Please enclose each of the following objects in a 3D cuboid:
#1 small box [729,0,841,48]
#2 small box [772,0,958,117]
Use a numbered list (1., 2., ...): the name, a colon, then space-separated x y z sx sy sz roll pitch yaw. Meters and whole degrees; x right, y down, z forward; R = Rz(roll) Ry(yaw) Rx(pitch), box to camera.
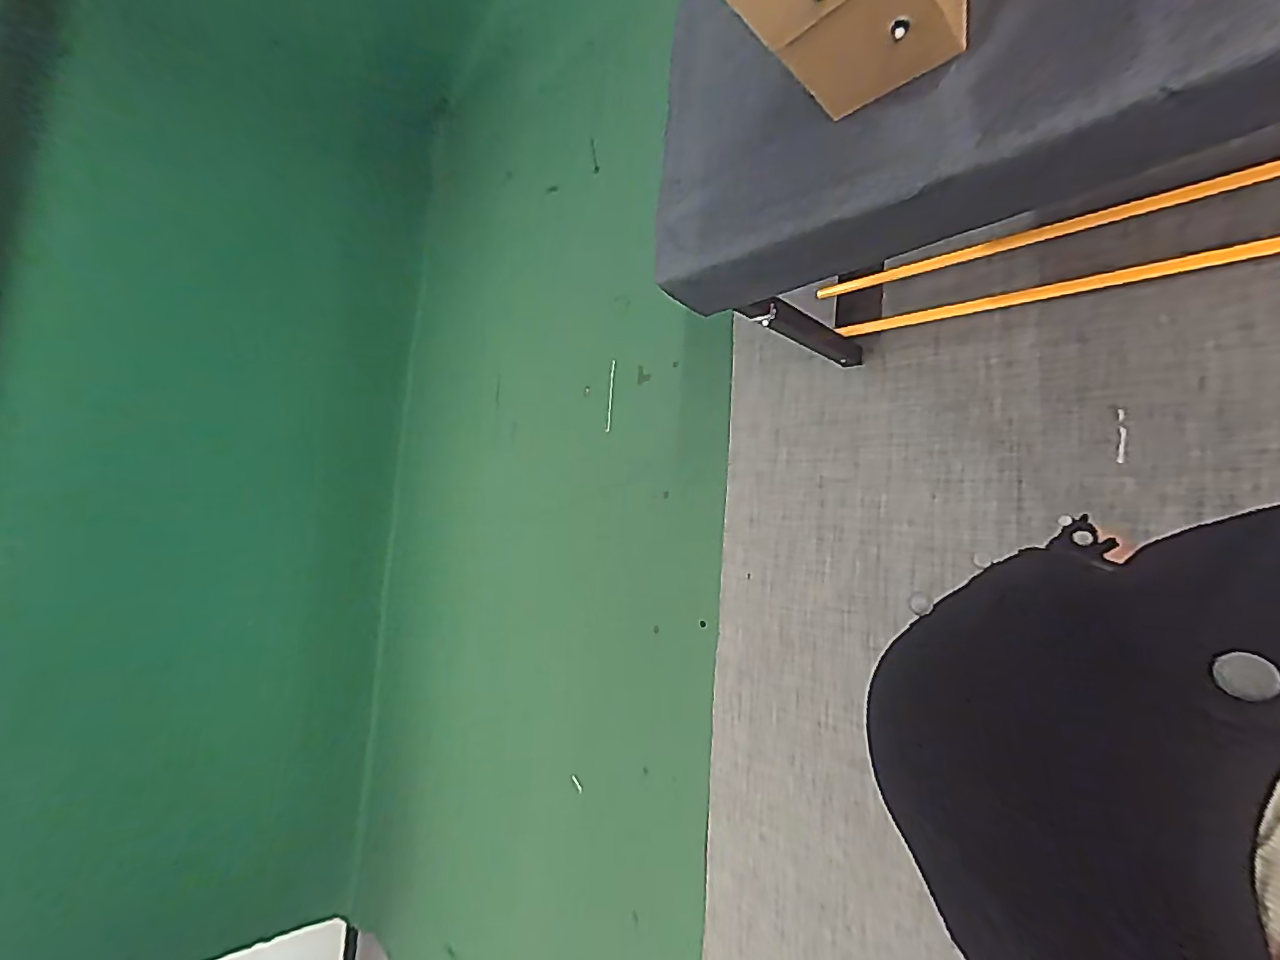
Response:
1. small box: 0.172 -0.639 0.583 0.179 0.176 0.168 -7 77 46
2. small box: 0.293 -0.624 0.693 0.179 0.176 0.168 -3 80 48
